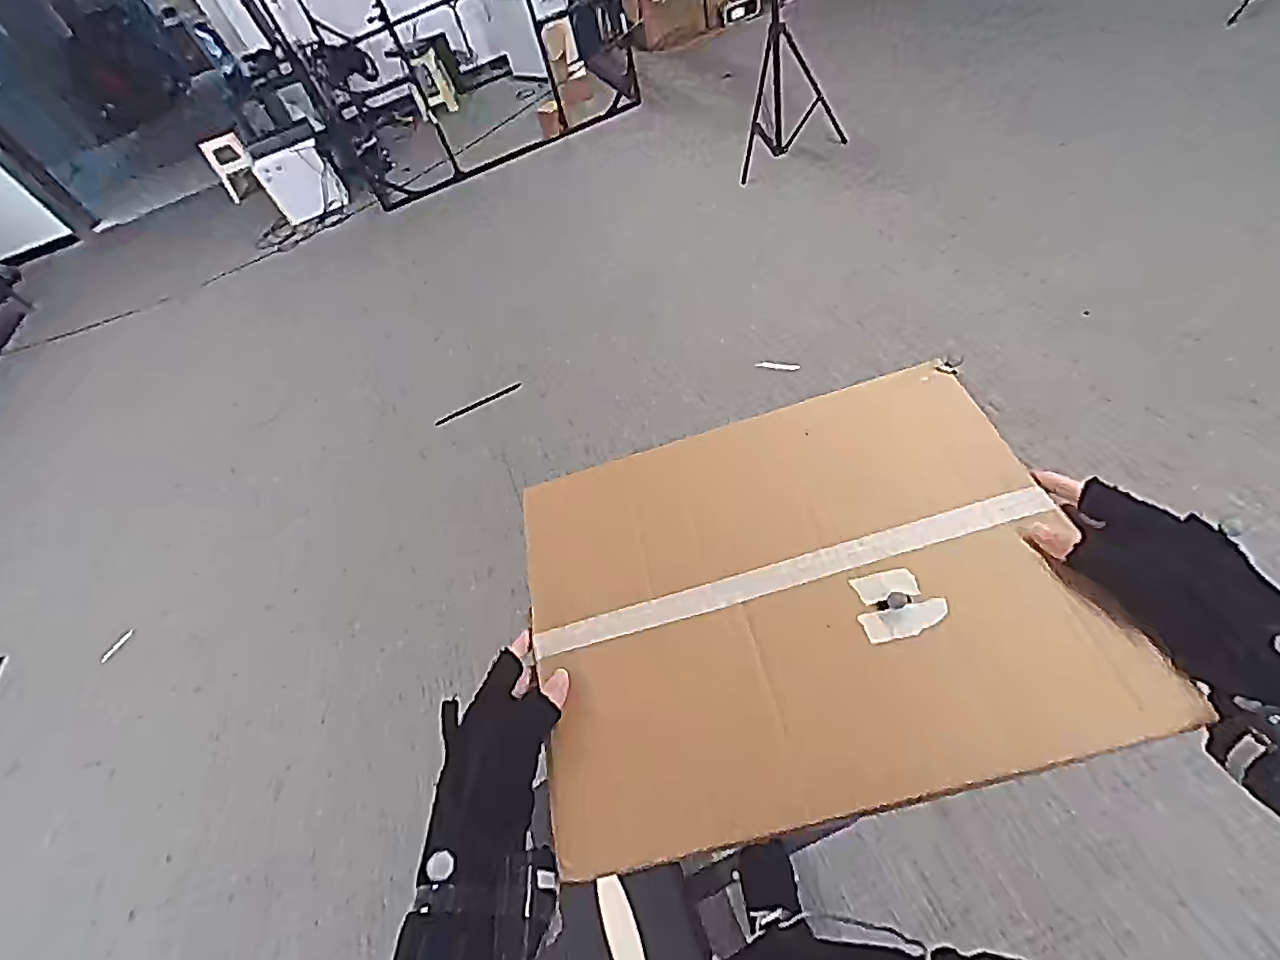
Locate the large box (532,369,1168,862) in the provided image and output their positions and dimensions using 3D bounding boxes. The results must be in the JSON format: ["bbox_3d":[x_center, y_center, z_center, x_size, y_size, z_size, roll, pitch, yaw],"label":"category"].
[{"bbox_3d":[0.144,0.155,0.554,0.408,0.320,0.320,-17,56,4],"label":"large box"}]
